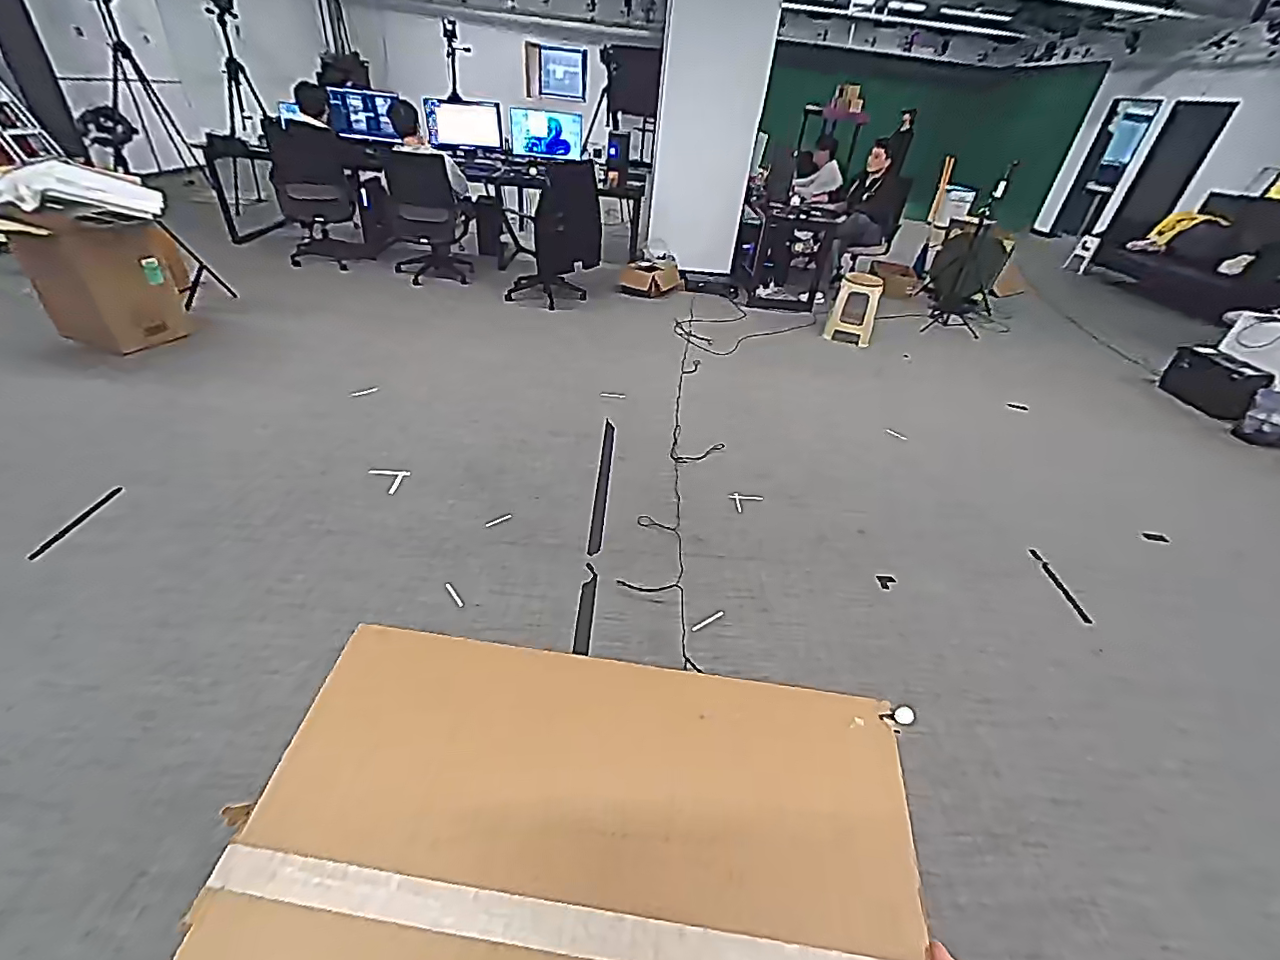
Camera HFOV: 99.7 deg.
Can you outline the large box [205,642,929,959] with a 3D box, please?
[{"bbox_3d":[-0.042,0.358,0.417,0.408,0.320,0.320,7,48,4],"label":"large box"}]
